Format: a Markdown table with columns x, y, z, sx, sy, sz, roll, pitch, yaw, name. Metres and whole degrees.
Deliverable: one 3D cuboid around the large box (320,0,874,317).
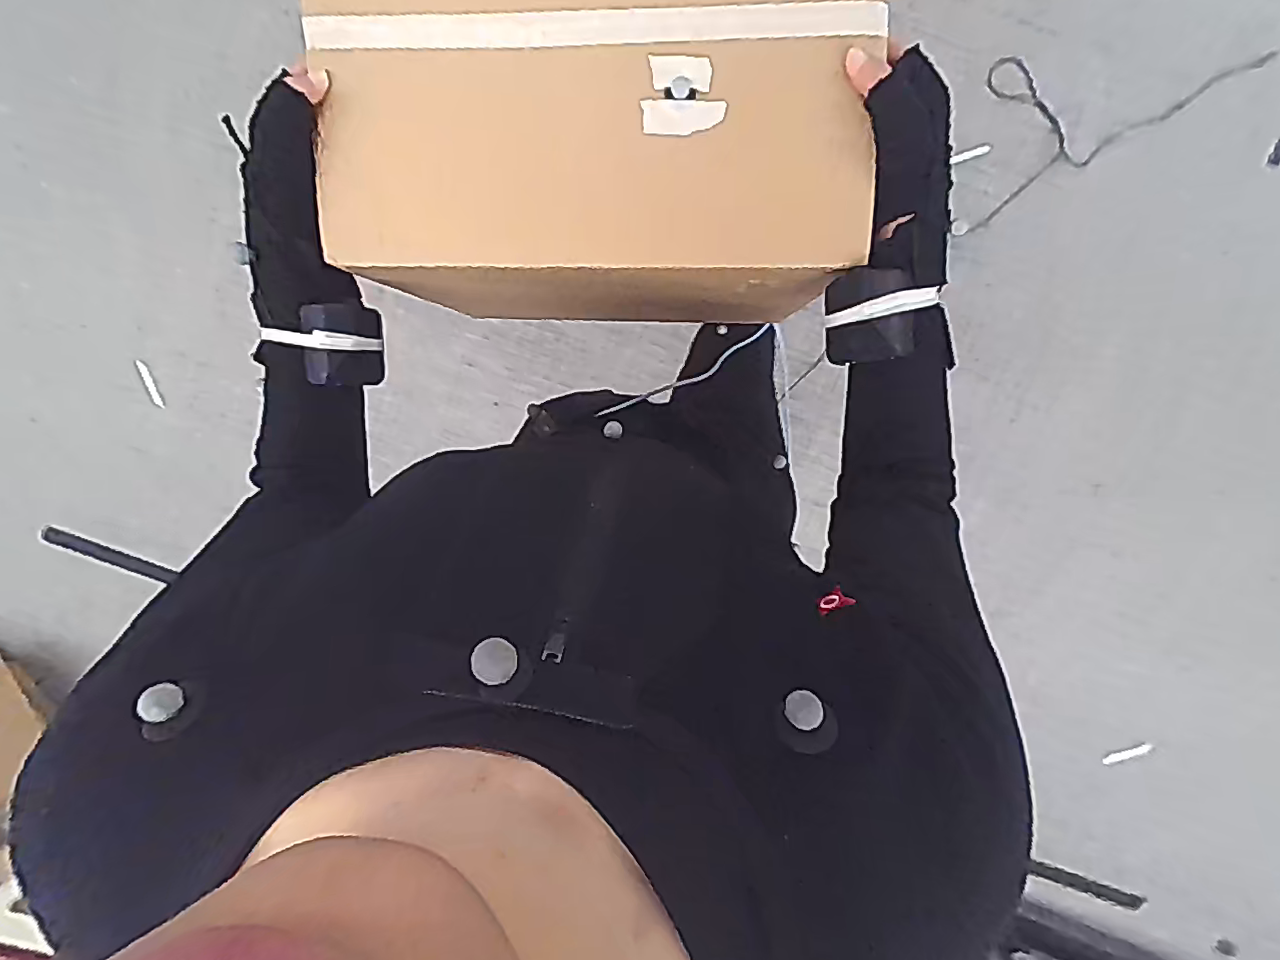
| x | y | z | sx | sy | sz | roll | pitch | yaw | name |
| --- | --- | --- | --- | --- | --- | --- | --- | --- | --- |
| -0.029 | -0.344 | 0.533 | 0.408 | 0.320 | 0.320 | 0 | 100 | 3 | large box |
